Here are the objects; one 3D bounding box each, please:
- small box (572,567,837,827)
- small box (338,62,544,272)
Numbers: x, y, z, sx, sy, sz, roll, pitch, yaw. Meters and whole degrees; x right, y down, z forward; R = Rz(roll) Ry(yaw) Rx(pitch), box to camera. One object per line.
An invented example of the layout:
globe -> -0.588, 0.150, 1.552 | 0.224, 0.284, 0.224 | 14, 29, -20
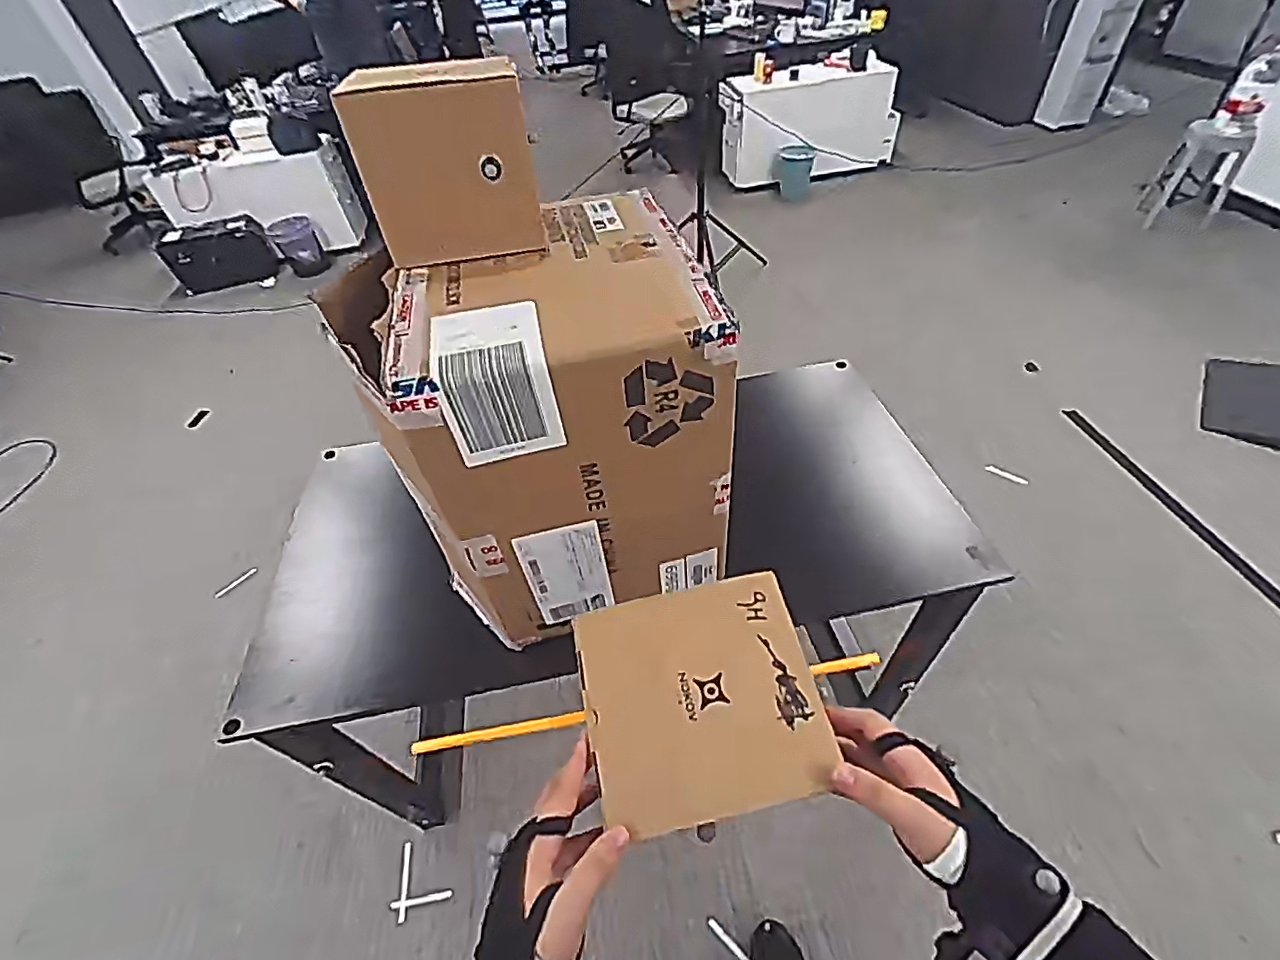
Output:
small box -> 0.047, 0.201, 0.488 | 0.179, 0.176, 0.168 | -12, 57, -4
small box -> -0.212, -0.363, 0.629 | 0.179, 0.176, 0.168 | -12, 44, -6
